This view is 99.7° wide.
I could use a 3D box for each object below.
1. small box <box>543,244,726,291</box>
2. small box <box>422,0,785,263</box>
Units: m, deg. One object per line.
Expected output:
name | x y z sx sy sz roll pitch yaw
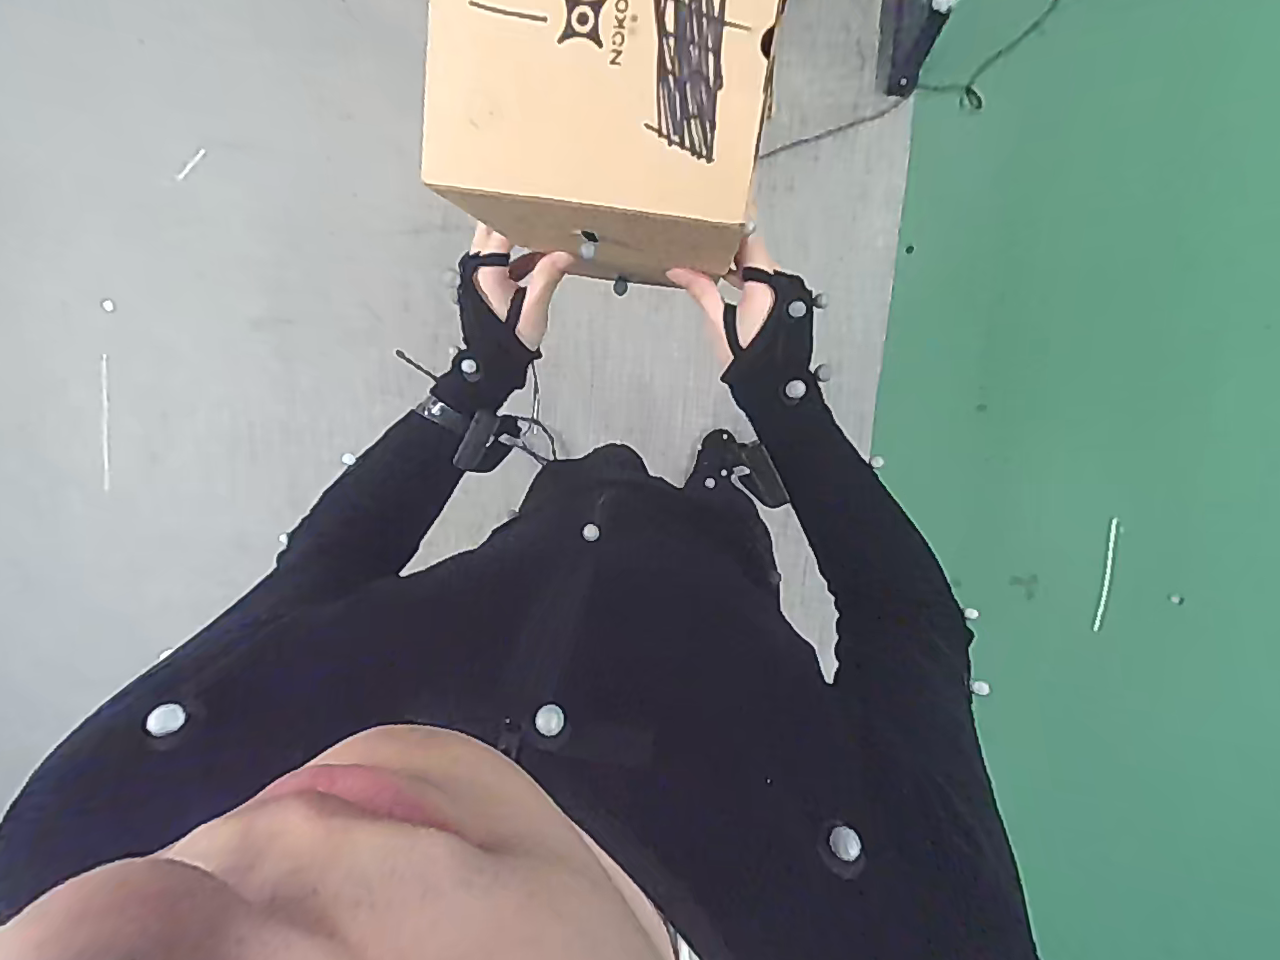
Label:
small box | 0.004 -0.285 0.499 0.168 0.176 0.179 8 104 4
small box | -0.012 -0.243 0.342 0.179 0.176 0.168 9 103 4
